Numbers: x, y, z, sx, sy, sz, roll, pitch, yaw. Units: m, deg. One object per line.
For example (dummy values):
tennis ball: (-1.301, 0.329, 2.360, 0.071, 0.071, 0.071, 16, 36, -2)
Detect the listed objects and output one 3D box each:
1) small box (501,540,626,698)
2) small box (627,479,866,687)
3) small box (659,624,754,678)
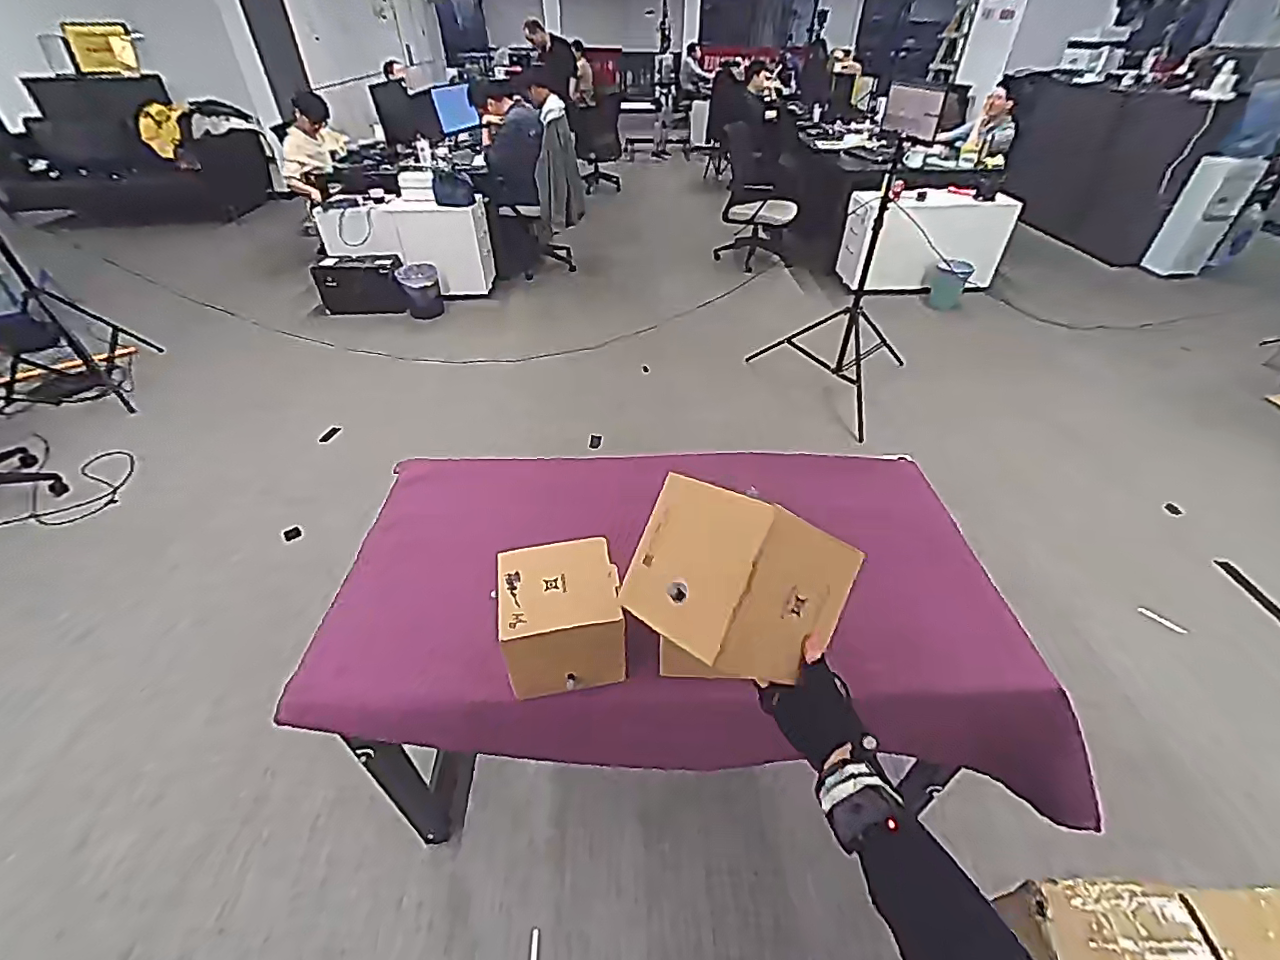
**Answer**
small box: (-0.123, 0.221, 0.862, 0.179, 0.176, 0.168, -7, 40, -10)
small box: (0.115, 0.109, 0.613, 0.179, 0.168, 0.176, 25, -2, -40)
small box: (0.121, 0.205, 0.879, 0.179, 0.176, 0.168, 1, 39, 3)
